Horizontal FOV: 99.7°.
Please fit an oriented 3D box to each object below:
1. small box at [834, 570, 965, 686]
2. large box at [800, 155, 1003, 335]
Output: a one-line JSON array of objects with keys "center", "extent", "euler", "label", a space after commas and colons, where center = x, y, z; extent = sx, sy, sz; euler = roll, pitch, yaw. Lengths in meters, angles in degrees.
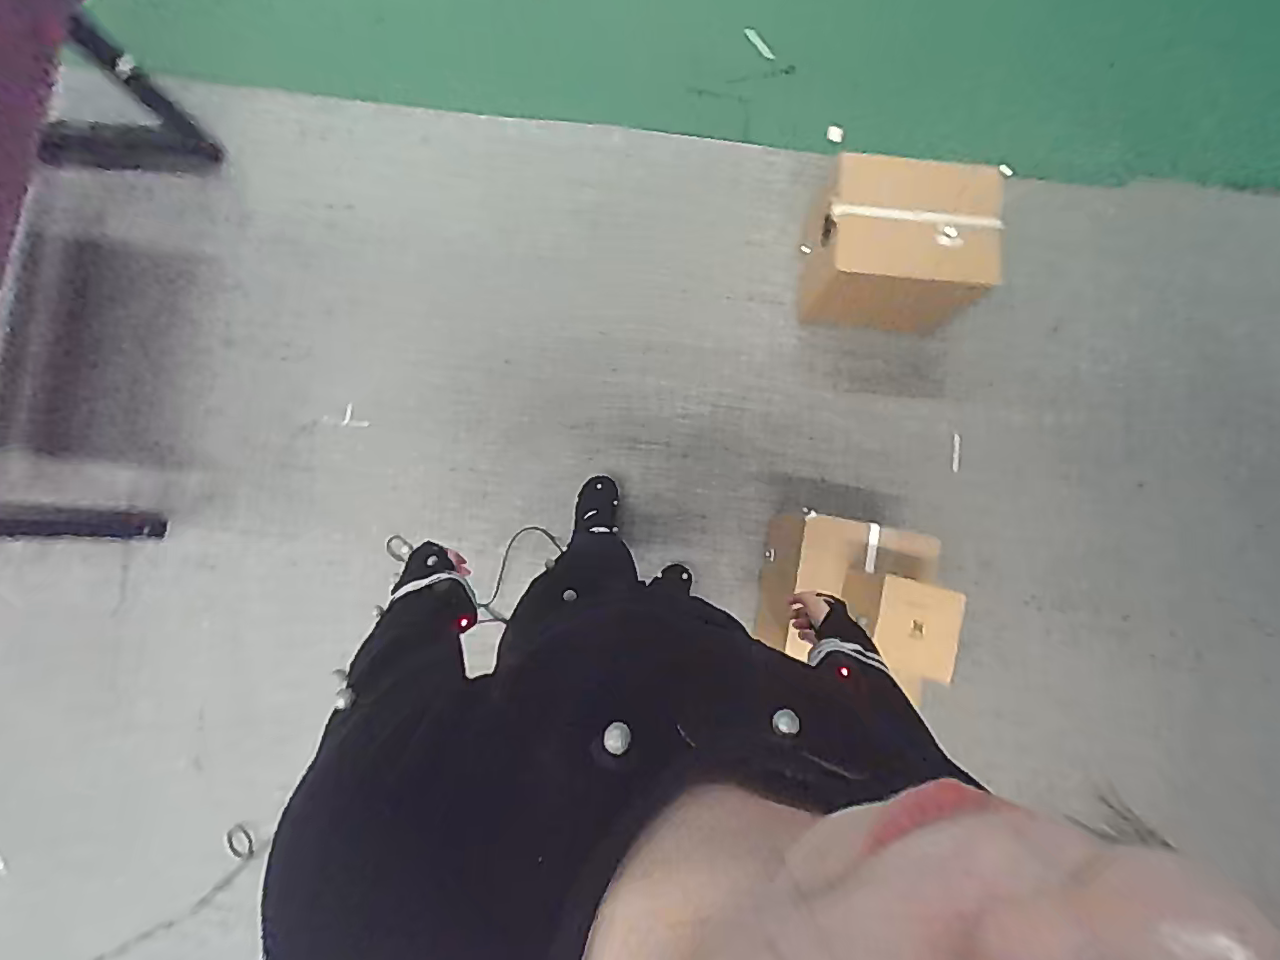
[{"center": [0.518, 0.292, 1.104], "extent": [0.168, 0.176, 0.179], "euler": [16, 83, -2], "label": "small box"}, {"center": [0.677, -0.611, 1.457], "extent": [0.408, 0.320, 0.320], "euler": [6, 83, -1], "label": "large box"}]
